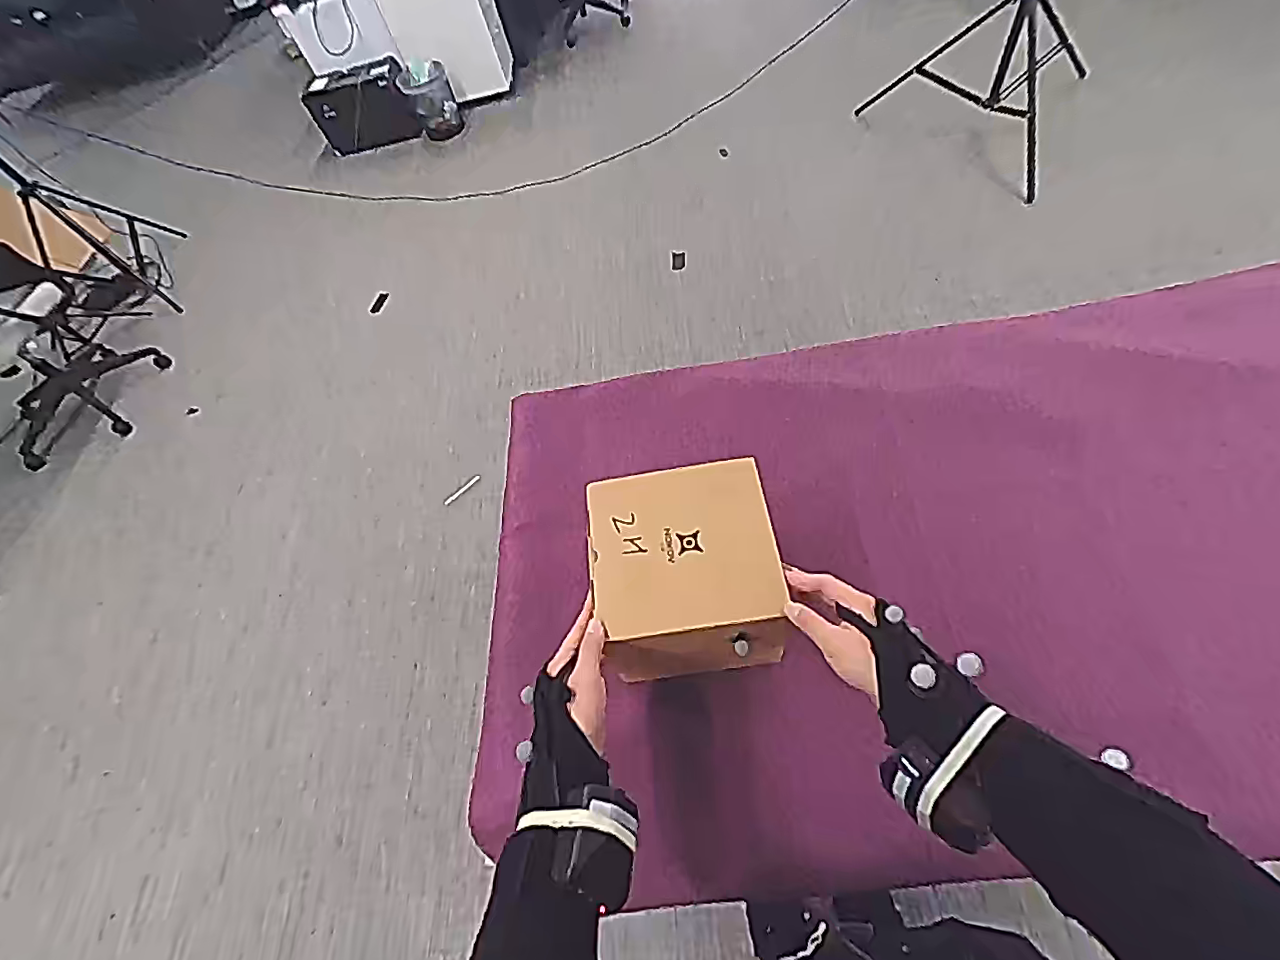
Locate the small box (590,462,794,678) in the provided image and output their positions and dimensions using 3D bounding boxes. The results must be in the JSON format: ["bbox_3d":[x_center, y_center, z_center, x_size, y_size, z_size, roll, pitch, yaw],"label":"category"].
[{"bbox_3d":[0.051,0.103,0.577,0.179,0.176,0.168,-9,57,4],"label":"small box"}]
